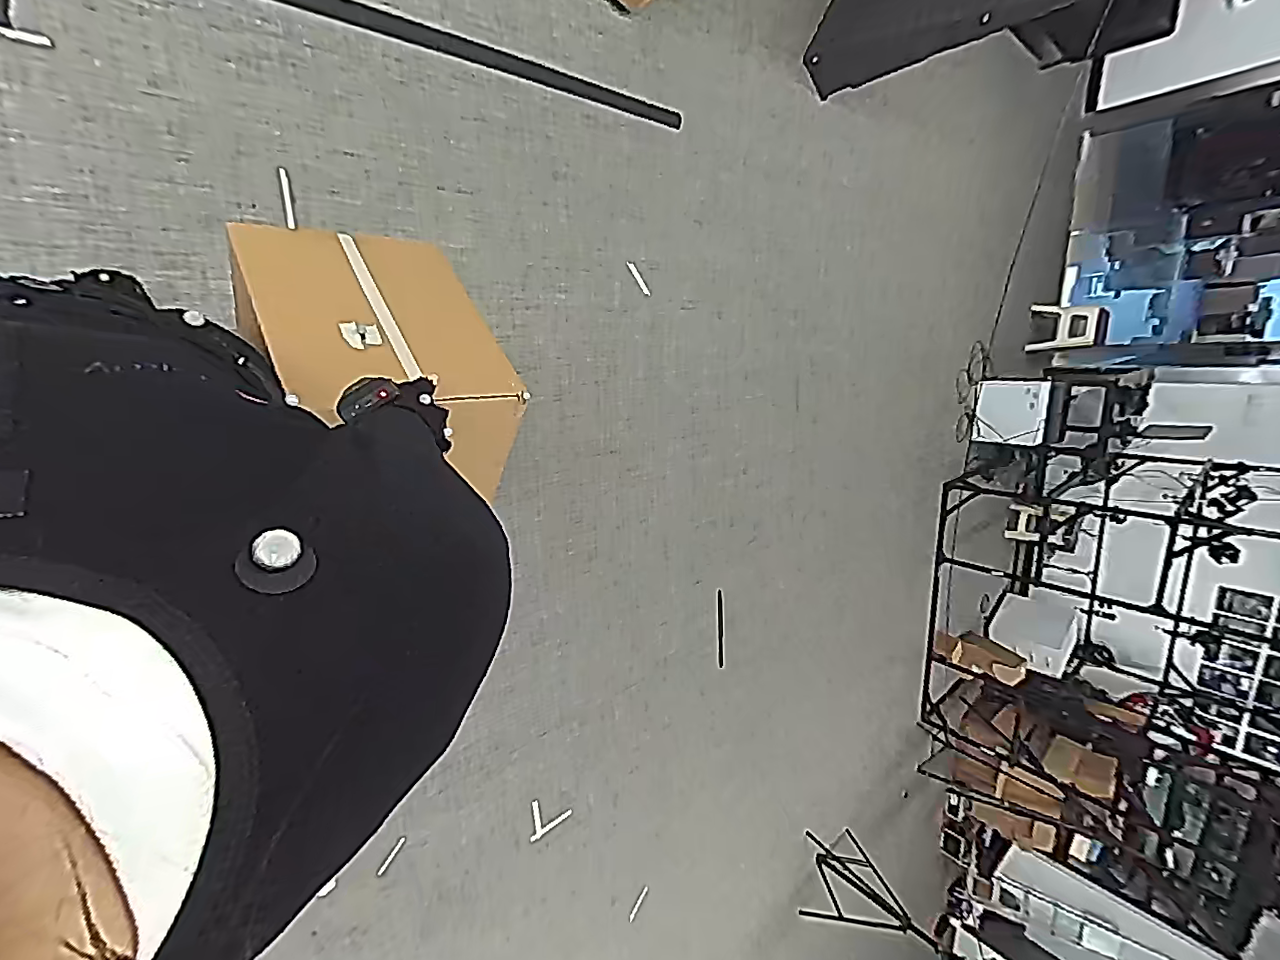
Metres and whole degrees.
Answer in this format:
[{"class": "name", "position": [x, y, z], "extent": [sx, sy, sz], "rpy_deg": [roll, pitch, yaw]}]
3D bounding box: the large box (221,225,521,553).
[{"class": "large box", "position": [-0.455, -0.151, 0.897], "extent": [0.320, 0.408, 0.320], "rpy_deg": [-12, 148, -38]}]
